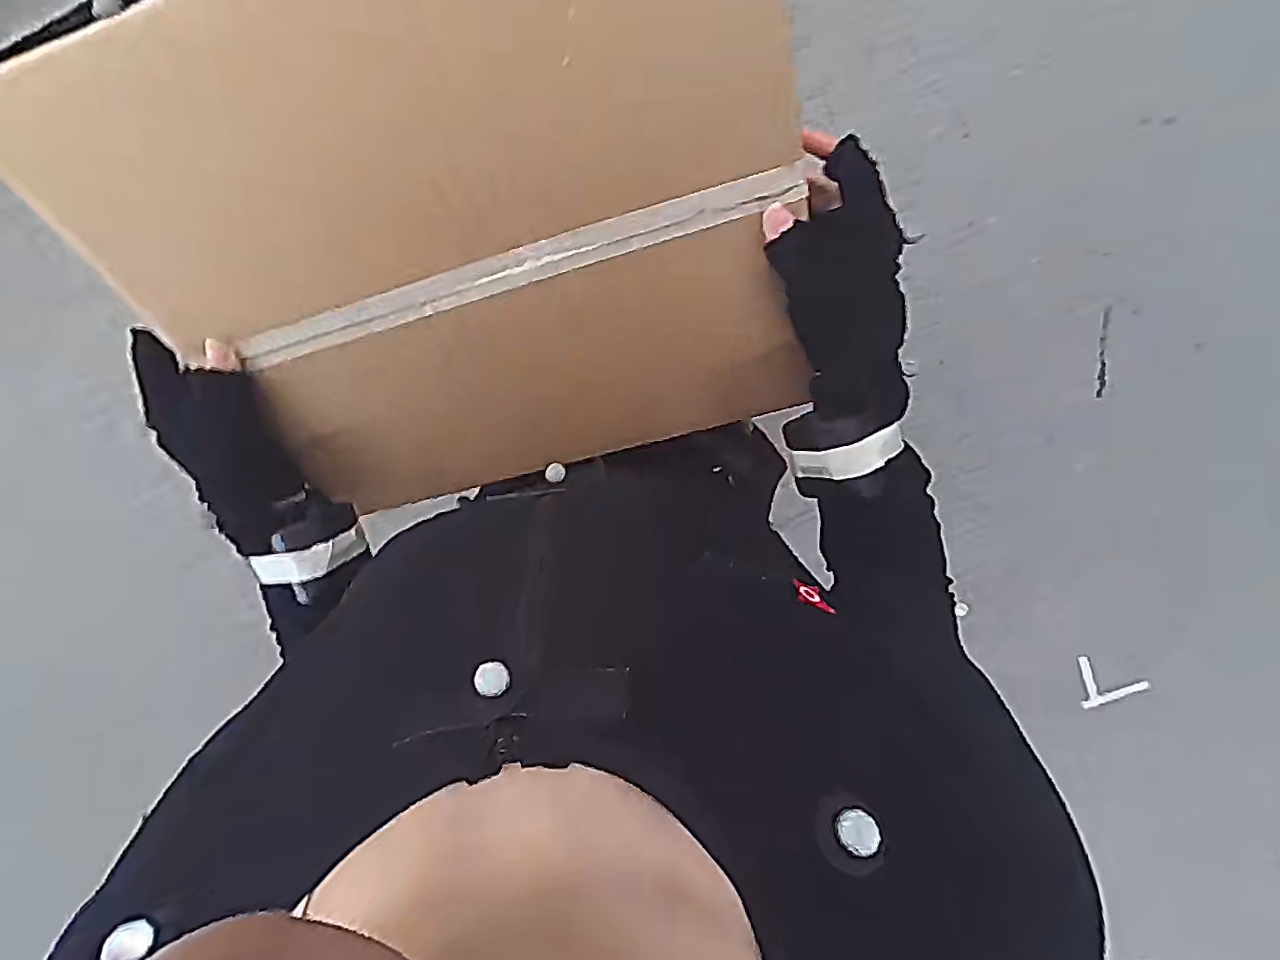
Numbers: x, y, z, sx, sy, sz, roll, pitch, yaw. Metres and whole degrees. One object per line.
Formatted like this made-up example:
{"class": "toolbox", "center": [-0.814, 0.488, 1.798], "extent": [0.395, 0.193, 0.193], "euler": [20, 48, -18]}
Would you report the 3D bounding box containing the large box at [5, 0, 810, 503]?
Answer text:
{"class": "large box", "center": [-0.109, -0.232, 0.455], "extent": [0.408, 0.320, 0.320], "euler": [-13, 133, 8]}
